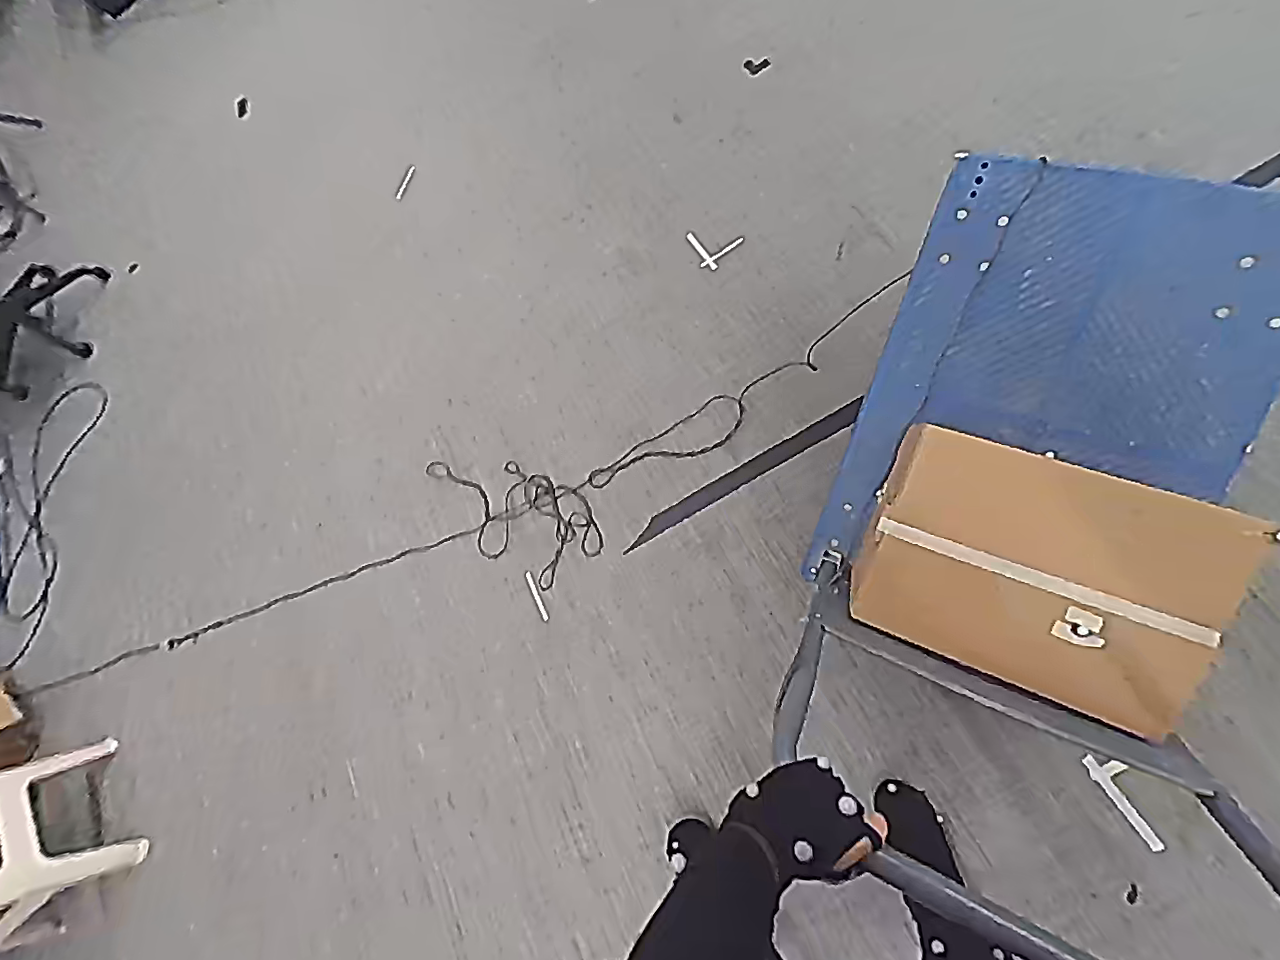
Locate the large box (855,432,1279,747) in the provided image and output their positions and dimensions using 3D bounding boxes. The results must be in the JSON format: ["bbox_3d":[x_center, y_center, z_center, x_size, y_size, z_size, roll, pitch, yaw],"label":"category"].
[{"bbox_3d":[0.594,0.125,0.859,0.408,0.320,0.320,21,102,18],"label":"large box"}]
